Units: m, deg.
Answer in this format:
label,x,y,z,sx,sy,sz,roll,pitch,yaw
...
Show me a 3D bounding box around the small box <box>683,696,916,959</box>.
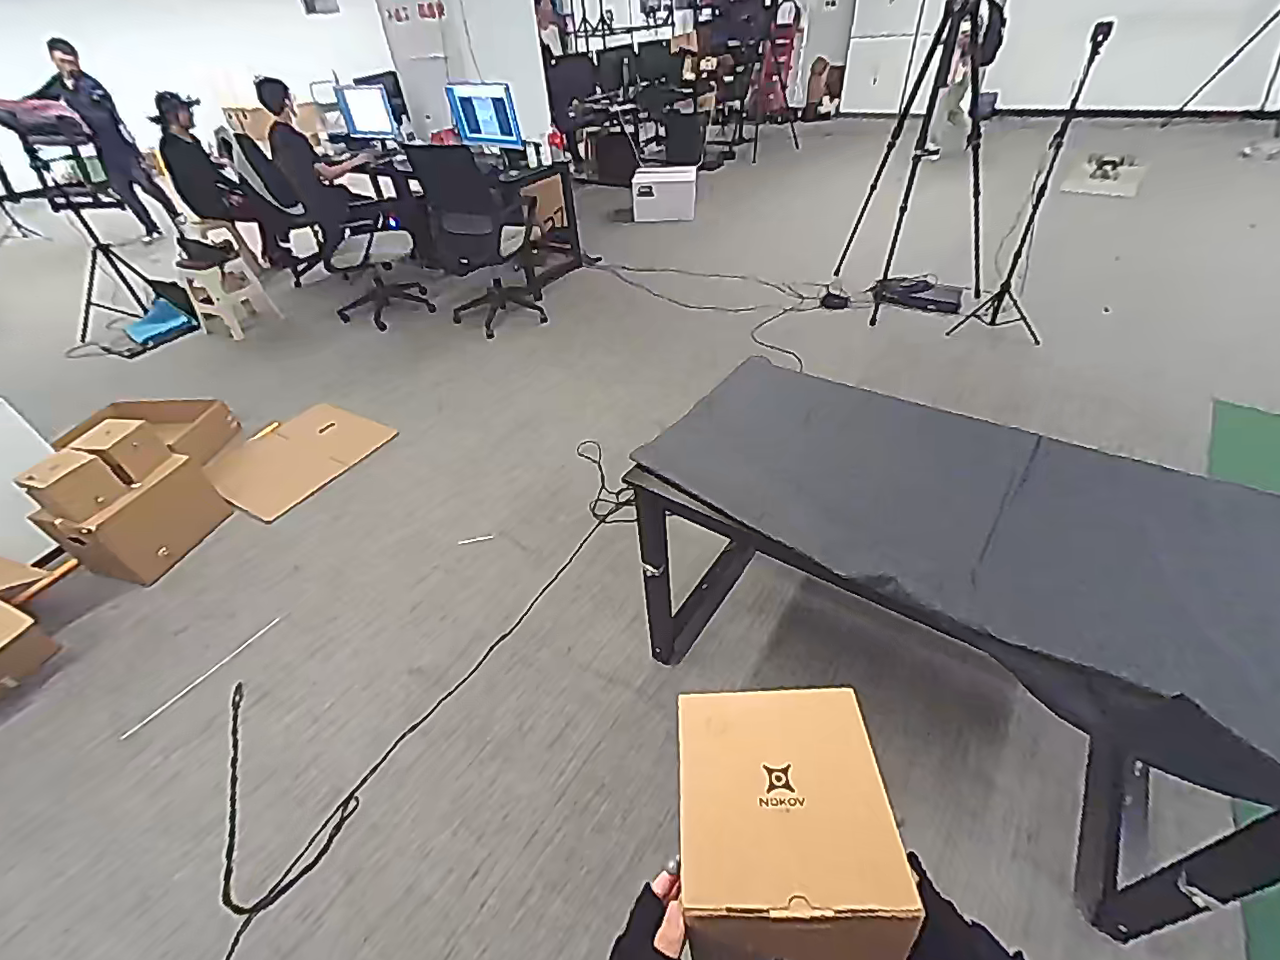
label,x,y,z,sx,sy,sz,roll,pitch,yaw
small box,0.126,0.326,0.499,0.168,0.176,0.179,-4,35,6
